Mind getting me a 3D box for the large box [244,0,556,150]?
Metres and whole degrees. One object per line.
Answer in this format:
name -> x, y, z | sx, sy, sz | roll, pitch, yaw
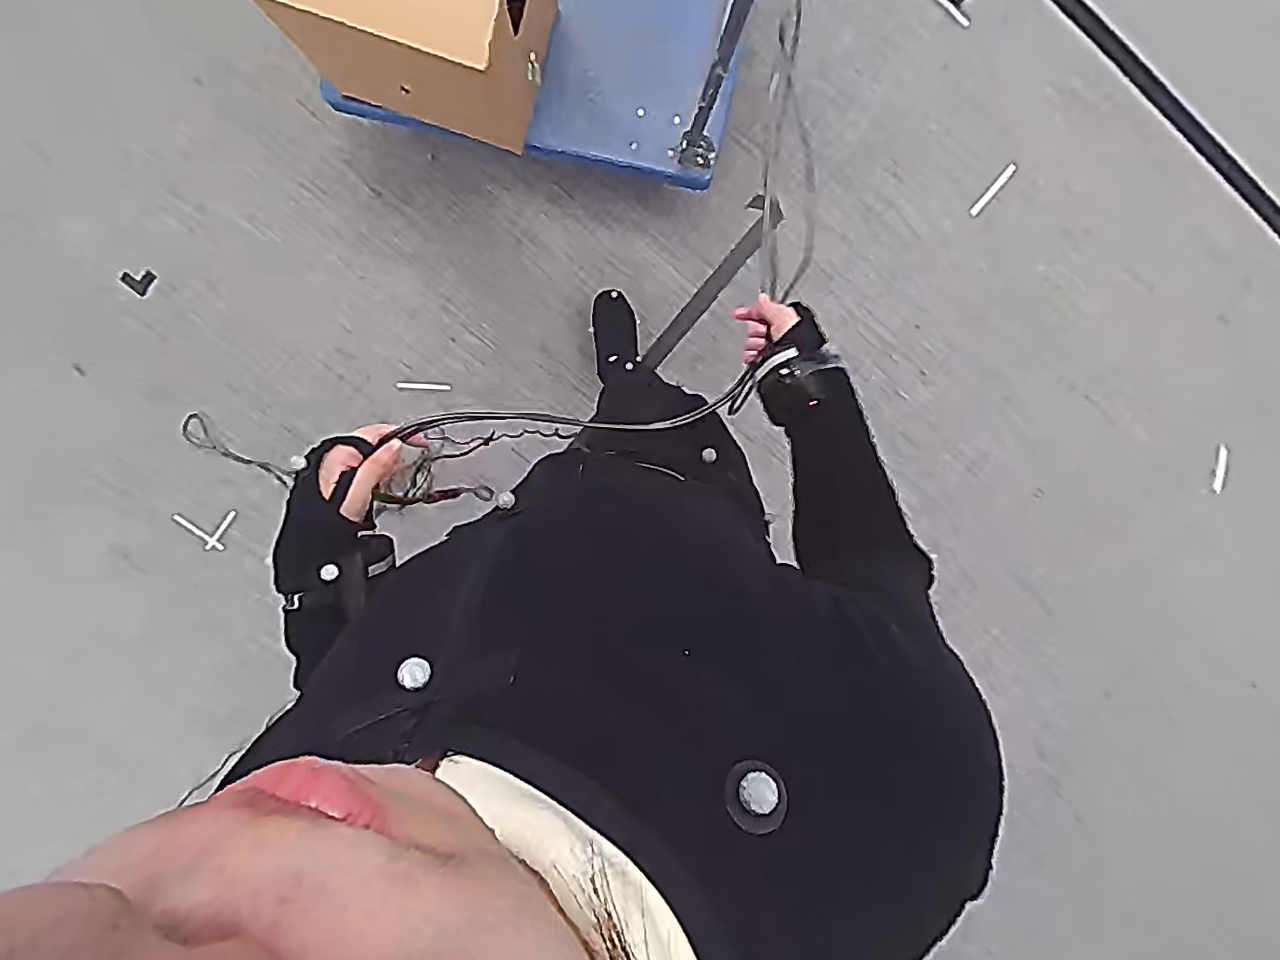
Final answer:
large box -> -0.400, -0.877, 0.987 | 0.408, 0.320, 0.320 | 16, 98, -3
